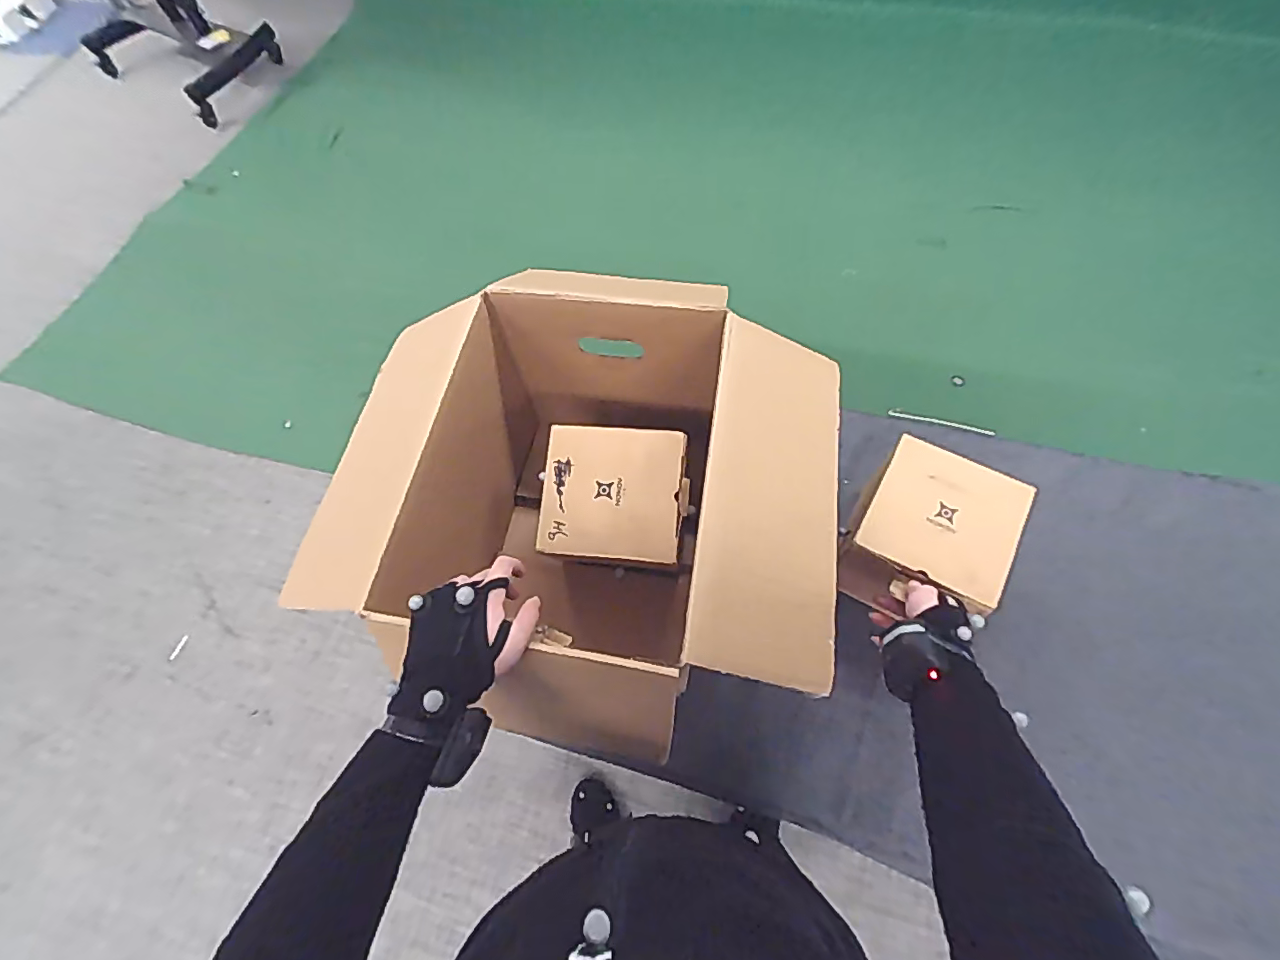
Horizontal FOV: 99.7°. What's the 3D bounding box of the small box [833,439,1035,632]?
[{"bbox_3d":[0.379,0.083,0.729,0.168,0.176,0.179,27,68,15],"label":"small box"}]
